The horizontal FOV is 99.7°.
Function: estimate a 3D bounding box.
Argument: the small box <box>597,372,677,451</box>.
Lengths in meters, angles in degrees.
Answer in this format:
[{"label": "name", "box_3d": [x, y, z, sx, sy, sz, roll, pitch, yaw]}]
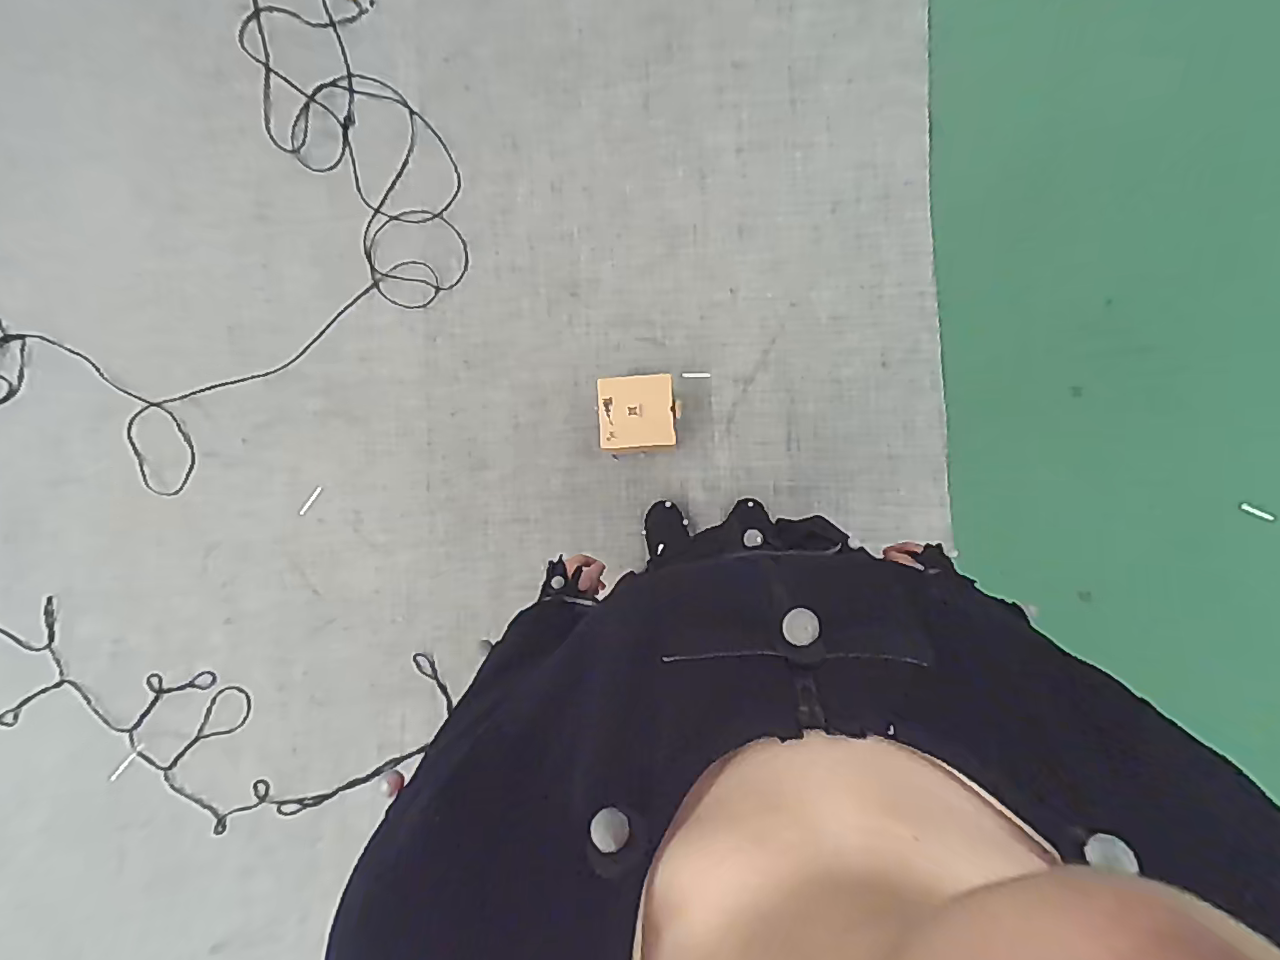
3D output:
[{"label": "small box", "box_3d": [-0.003, -0.162, 1.320, 0.179, 0.176, 0.168, -4, 89, 4]}]
